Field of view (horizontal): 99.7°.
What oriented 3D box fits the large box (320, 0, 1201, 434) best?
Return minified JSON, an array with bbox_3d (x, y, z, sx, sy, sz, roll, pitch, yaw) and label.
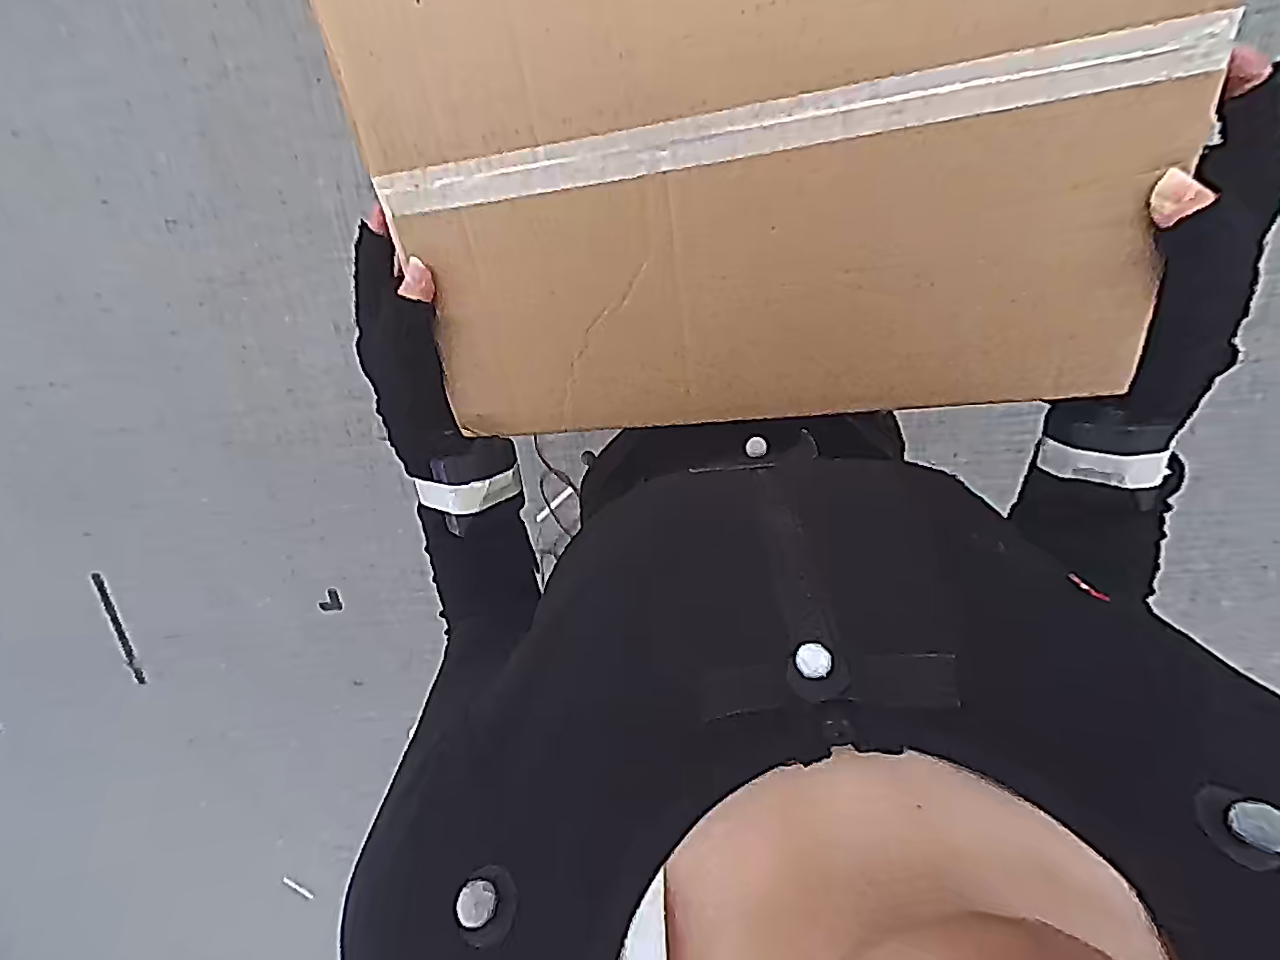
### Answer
[{"bbox_3d":[0.069,-0.252,0.403,0.408,0.320,0.320,-3,120,13],"label":"large box"}]
